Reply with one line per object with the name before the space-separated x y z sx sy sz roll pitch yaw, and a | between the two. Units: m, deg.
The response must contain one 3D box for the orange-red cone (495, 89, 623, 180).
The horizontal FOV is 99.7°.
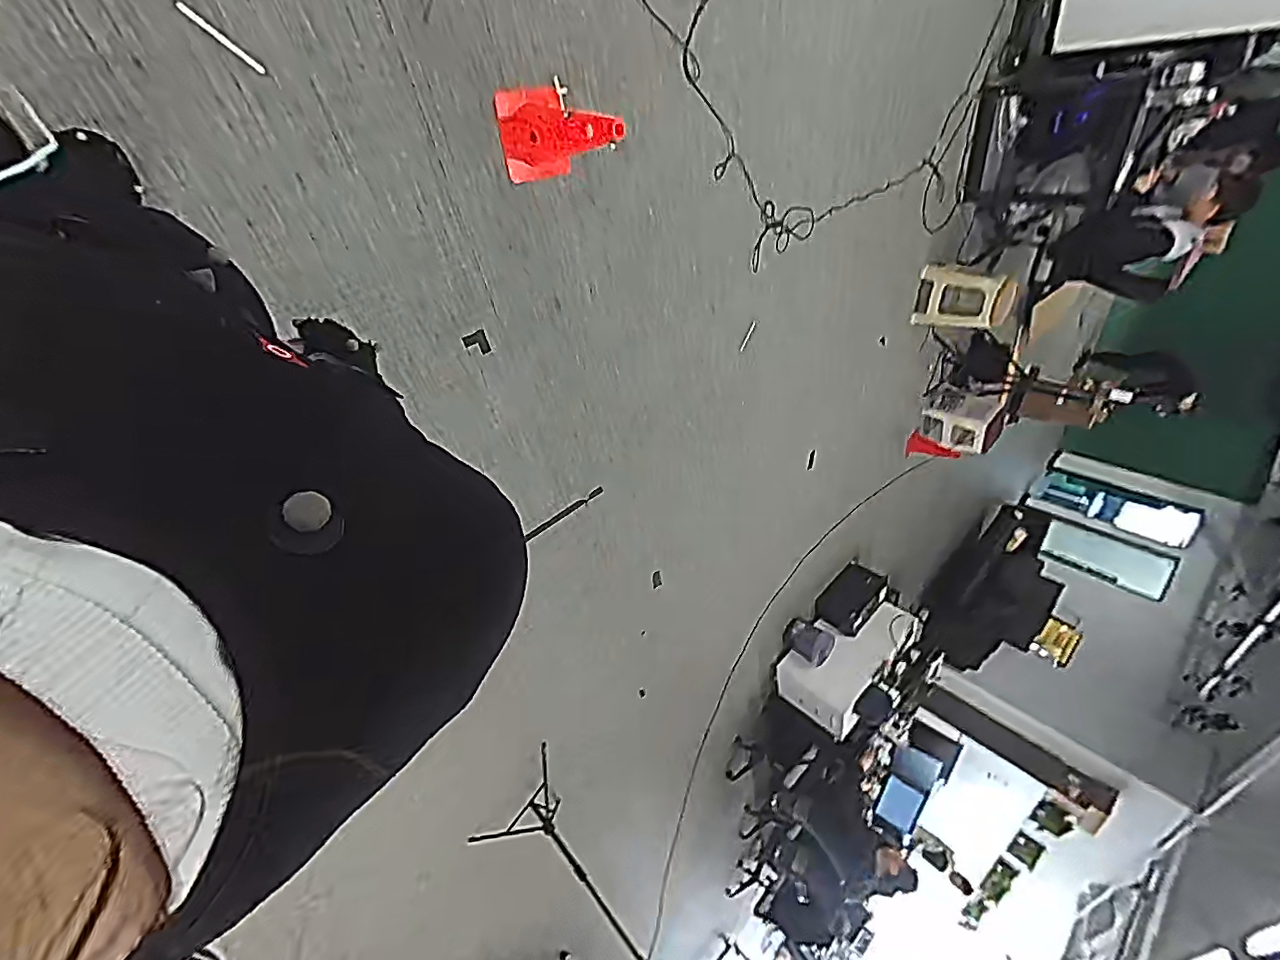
orange-red cone | -0.167 -0.845 1.308 0.199 0.360 0.198 -28 129 -31
